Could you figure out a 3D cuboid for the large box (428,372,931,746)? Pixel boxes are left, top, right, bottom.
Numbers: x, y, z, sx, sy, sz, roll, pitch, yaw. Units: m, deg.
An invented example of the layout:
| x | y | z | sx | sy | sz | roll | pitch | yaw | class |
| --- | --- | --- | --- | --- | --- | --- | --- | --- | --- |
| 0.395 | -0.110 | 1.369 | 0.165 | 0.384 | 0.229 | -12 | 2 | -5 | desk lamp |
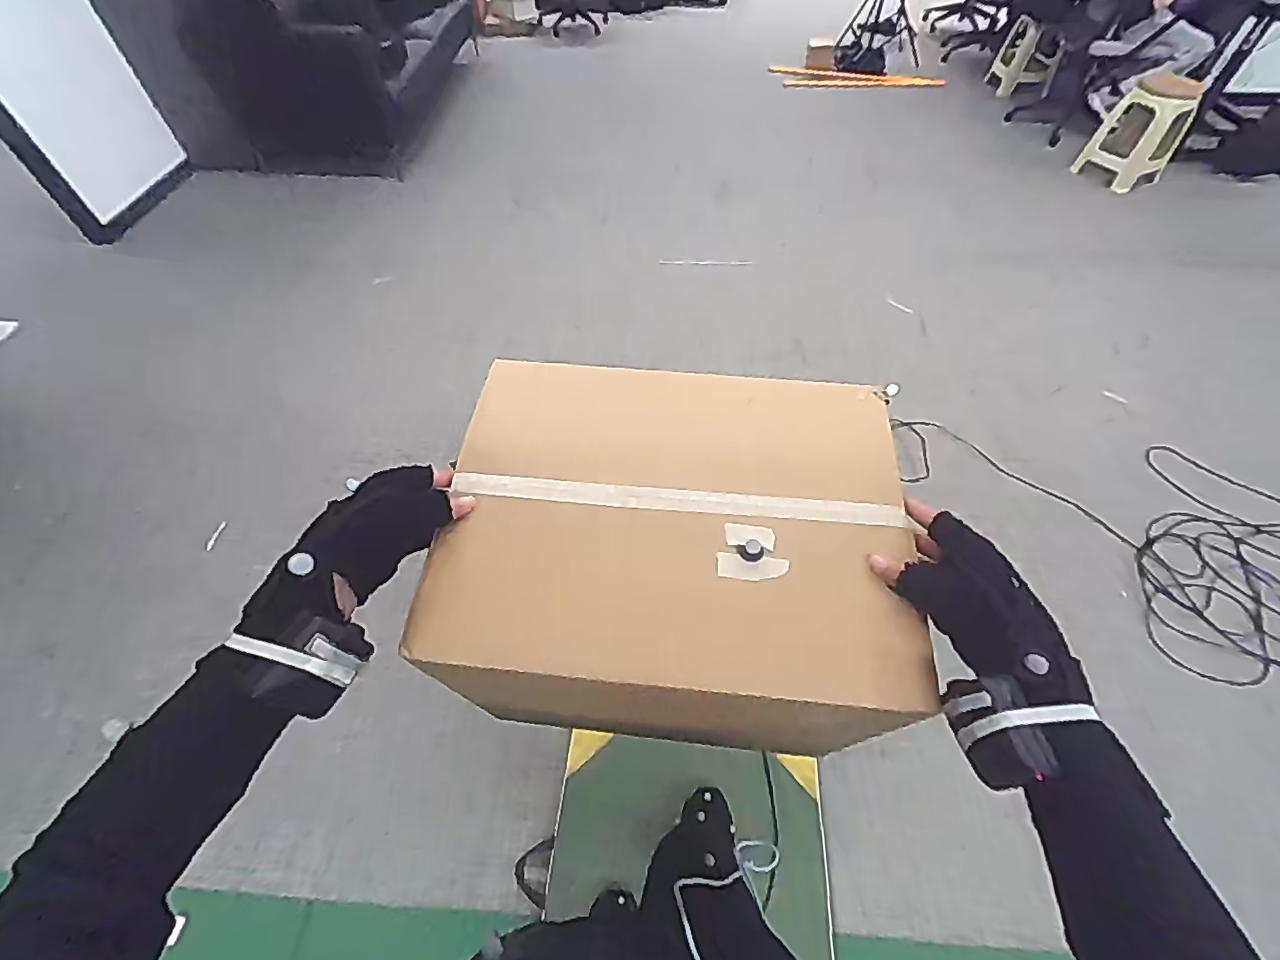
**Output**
| x | y | z | sx | sy | sz | roll | pitch | yaw | class |
| --- | --- | --- | --- | --- | --- | --- | --- | --- | --- |
| 0.037 | 0.104 | 0.623 | 0.408 | 0.320 | 0.320 | 5 | 58 | 3 | large box |
